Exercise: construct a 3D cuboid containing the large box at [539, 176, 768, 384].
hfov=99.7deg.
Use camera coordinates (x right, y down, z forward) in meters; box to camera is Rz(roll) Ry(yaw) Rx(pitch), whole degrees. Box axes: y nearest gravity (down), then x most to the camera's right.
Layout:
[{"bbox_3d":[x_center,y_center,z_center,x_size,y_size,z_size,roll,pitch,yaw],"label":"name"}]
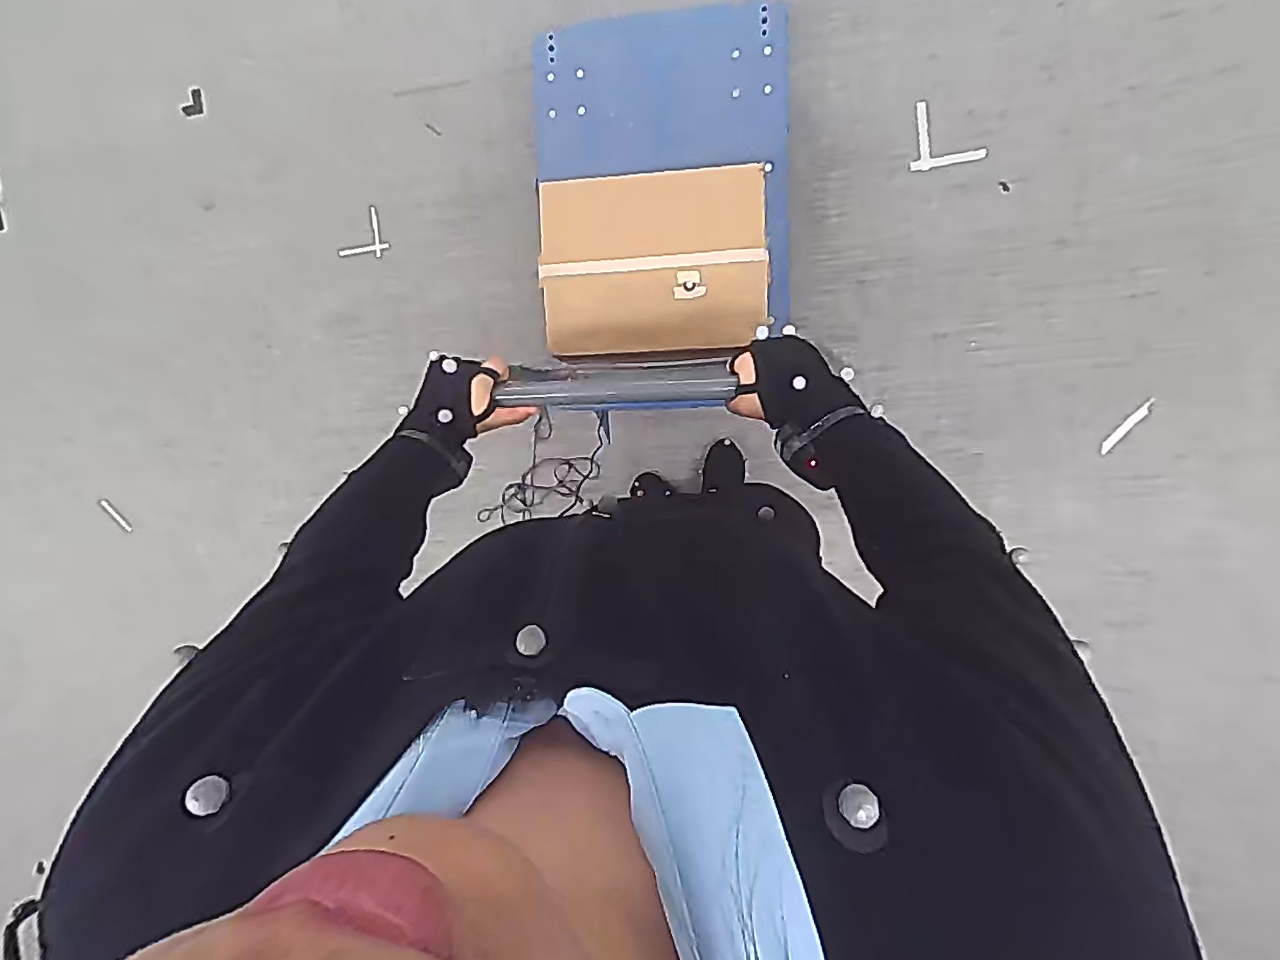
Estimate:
[{"bbox_3d":[0.034,-0.376,1.111,0.408,0.320,0.320,-2,95,6],"label":"large box"}]
